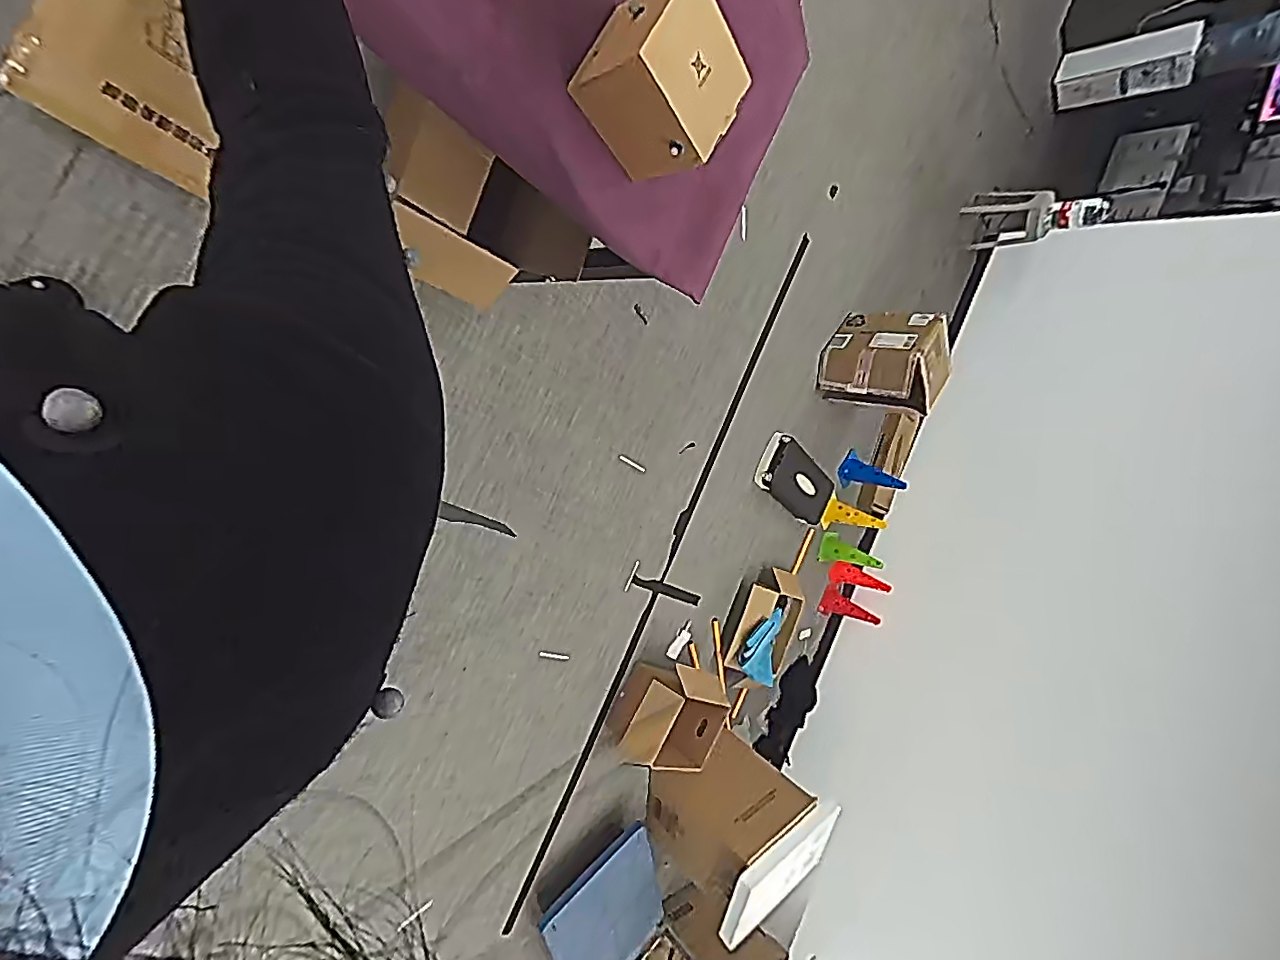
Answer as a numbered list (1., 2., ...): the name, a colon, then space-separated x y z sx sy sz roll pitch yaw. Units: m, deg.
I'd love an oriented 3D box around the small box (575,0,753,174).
1. small box: 0.034 -0.596 0.813 0.179 0.176 0.168 36 78 -45
